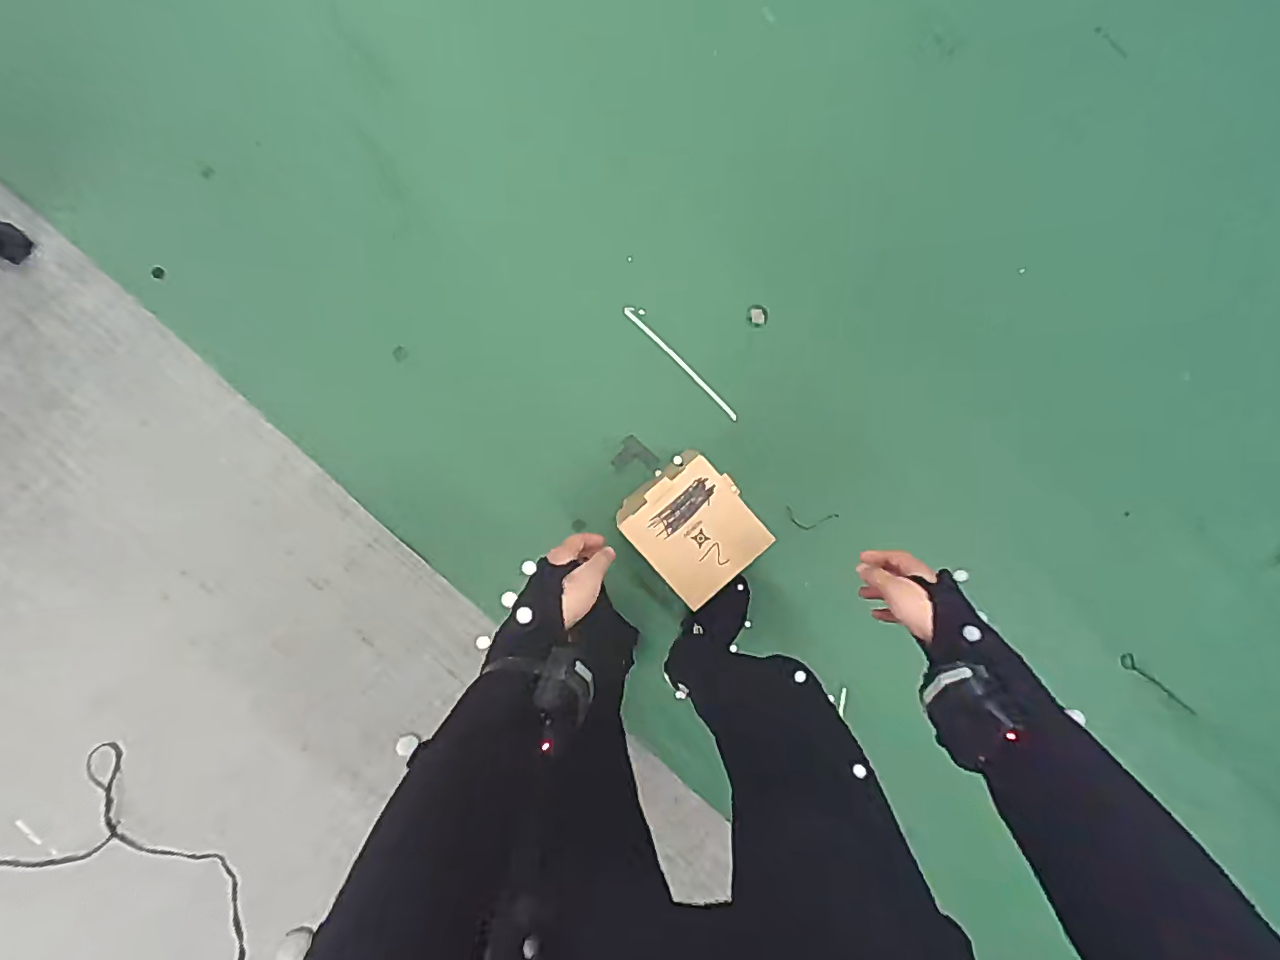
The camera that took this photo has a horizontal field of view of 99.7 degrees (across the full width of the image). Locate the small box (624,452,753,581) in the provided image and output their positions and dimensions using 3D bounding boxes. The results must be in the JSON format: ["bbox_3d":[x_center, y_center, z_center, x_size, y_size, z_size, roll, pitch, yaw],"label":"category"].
[{"bbox_3d":[0.086,0.062,1.038,0.179,0.176,0.168,-39,95,1],"label":"small box"}]
